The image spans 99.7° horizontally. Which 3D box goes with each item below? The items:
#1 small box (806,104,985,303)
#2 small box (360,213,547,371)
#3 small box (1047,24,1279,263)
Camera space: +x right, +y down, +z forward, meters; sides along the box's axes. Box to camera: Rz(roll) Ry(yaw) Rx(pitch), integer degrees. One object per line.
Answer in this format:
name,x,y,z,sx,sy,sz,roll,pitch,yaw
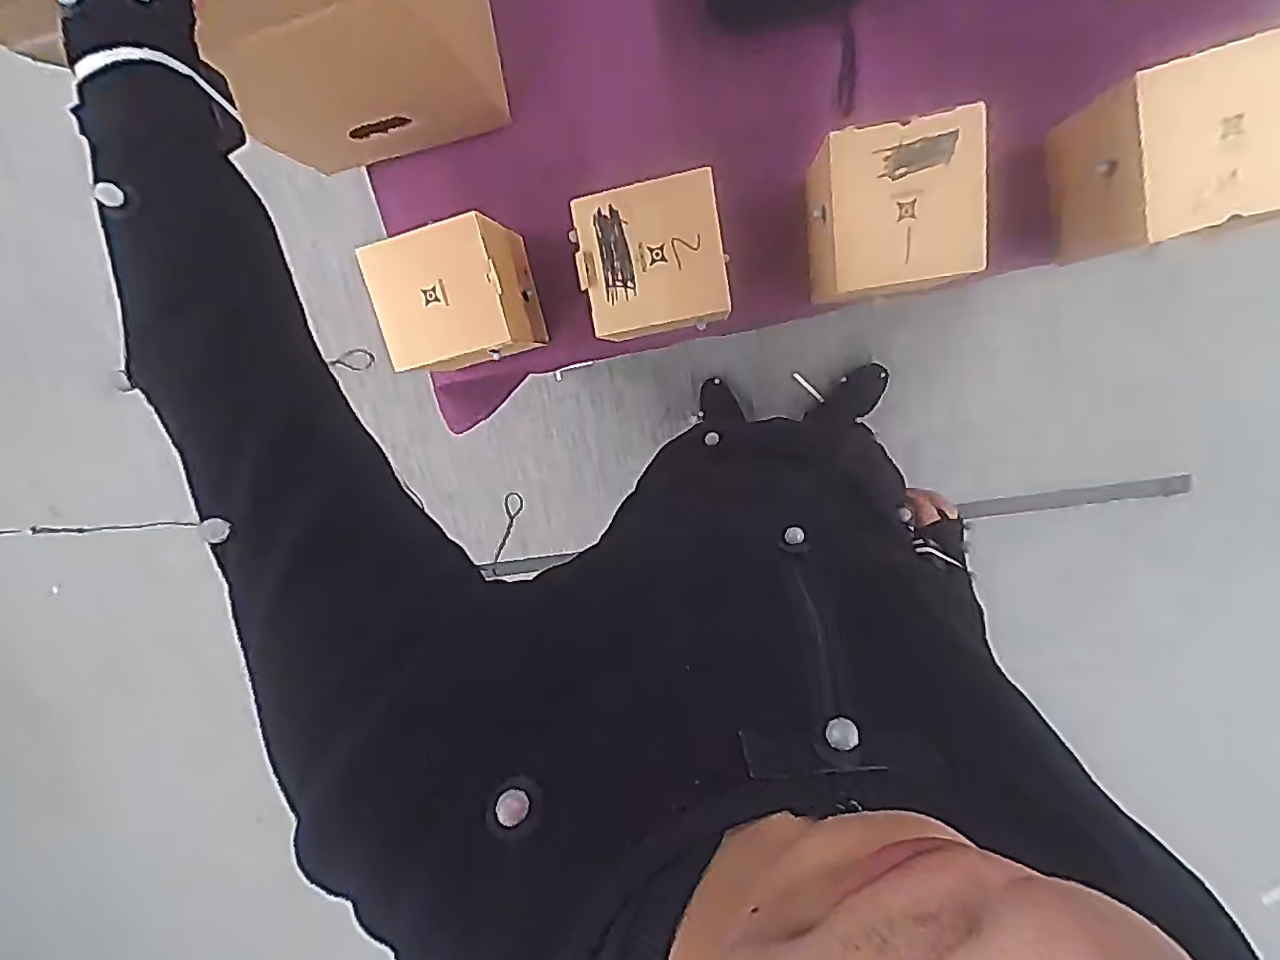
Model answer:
small box,0.312,-0.333,0.689,0.168,0.176,0.179,-6,103,9
small box,-0.256,-0.258,0.783,0.179,0.176,0.168,-13,101,9
small box,0.617,-0.377,0.636,0.168,0.176,0.179,-12,101,11
